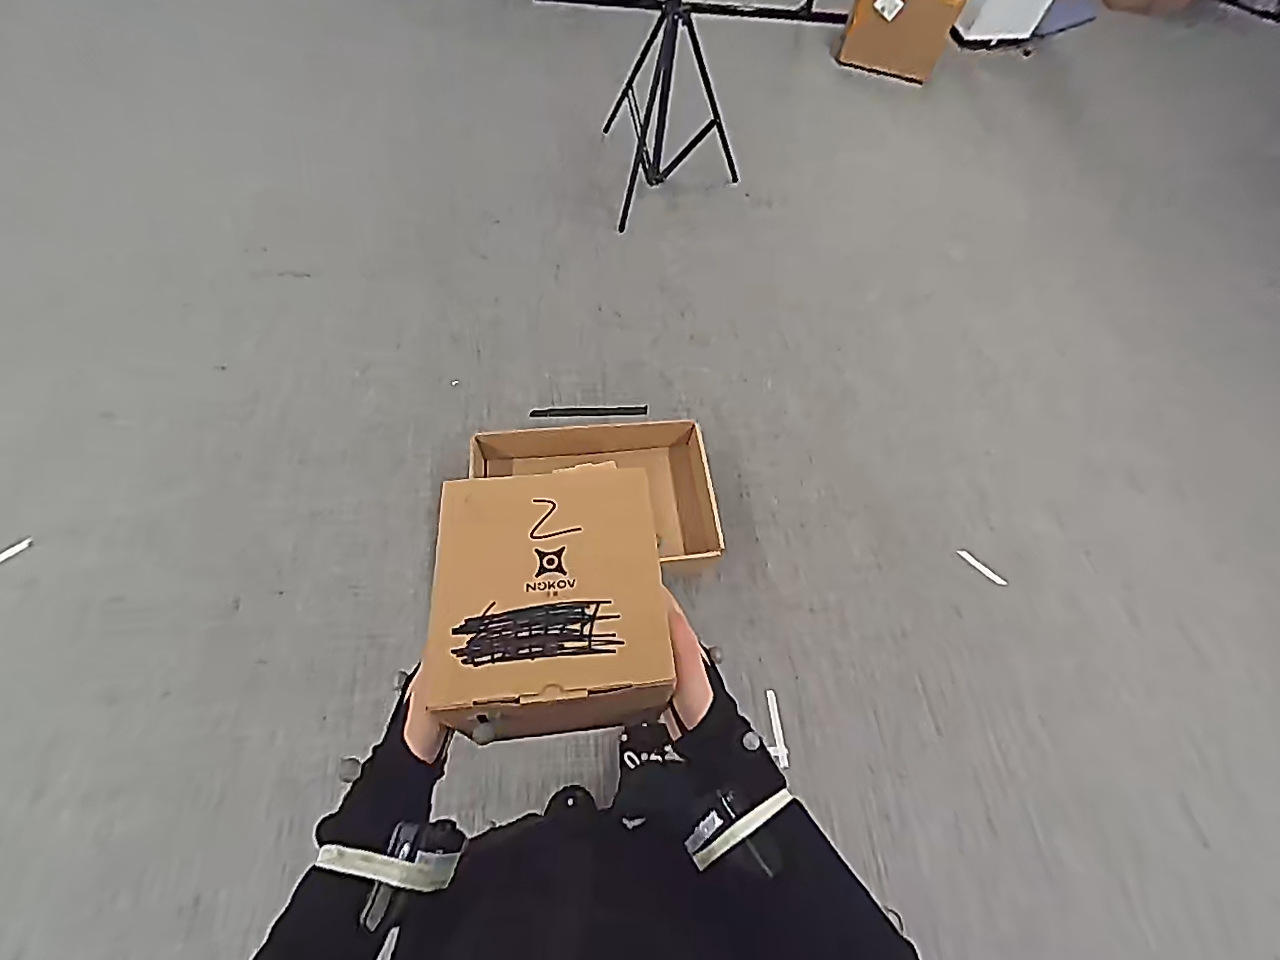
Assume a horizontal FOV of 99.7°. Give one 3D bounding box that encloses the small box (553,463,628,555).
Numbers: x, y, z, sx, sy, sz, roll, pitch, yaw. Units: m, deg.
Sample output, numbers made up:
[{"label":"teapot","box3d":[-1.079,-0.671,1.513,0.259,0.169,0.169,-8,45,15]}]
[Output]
[{"label":"small box","box3d":[-0.133,0.079,1.423,0.168,0.176,0.179,-10,66,-10]}]
